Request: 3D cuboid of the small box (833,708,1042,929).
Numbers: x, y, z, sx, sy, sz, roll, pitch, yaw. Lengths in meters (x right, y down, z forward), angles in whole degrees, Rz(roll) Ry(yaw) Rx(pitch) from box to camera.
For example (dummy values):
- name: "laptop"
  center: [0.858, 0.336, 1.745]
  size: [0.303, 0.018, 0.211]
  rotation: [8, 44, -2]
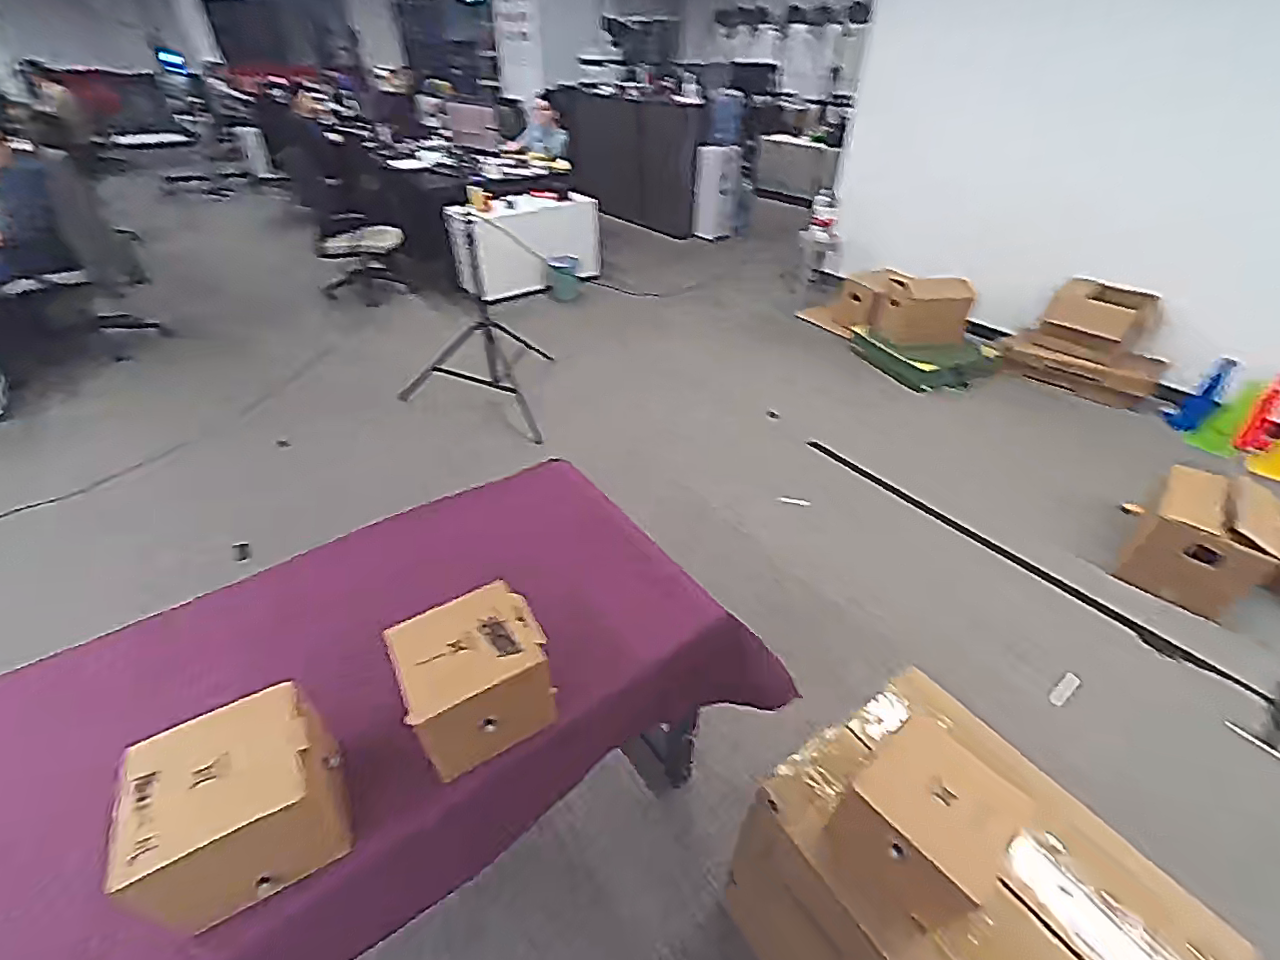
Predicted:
- name: "small box"
  center: [0.397, 0.468, 0.751]
  size: [0.168, 0.176, 0.179]
  rotation: [-30, 49, -29]

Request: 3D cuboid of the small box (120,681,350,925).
- name: "small box"
  center: [-0.476, 0.392, 0.667]
  size: [0.179, 0.176, 0.168]
  rotation: [-19, 42, -24]

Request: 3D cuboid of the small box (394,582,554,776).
- name: "small box"
  center: [-0.236, 0.290, 0.797]
  size: [0.179, 0.176, 0.168]
  rotation: [-21, 43, -24]
